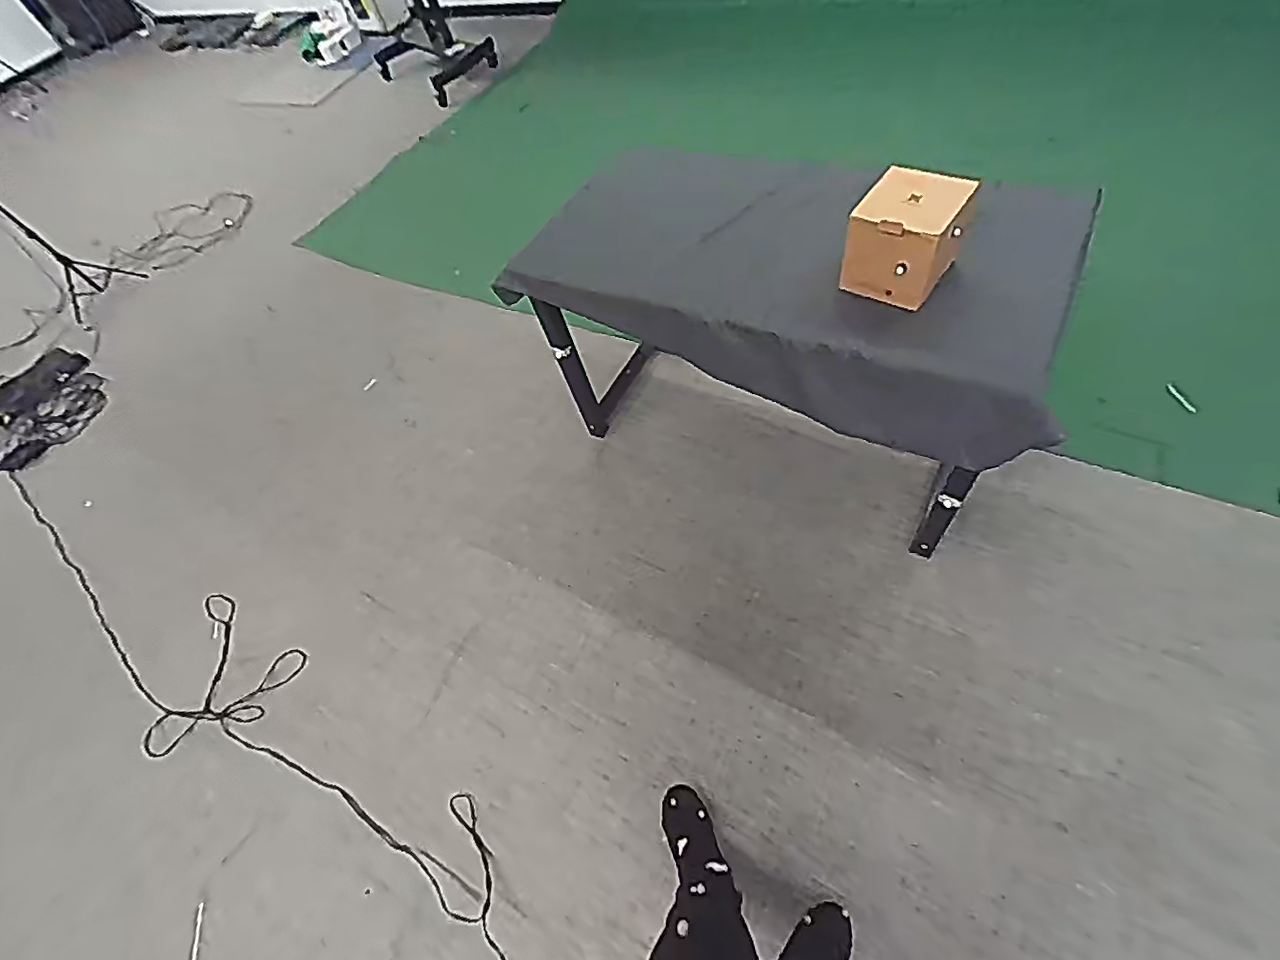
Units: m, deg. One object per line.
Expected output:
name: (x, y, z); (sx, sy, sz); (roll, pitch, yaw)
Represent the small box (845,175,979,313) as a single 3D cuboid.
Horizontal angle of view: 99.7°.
small box: (0.525, -0.462, 1.069); (0.168, 0.176, 0.179); (31, 67, 27)
